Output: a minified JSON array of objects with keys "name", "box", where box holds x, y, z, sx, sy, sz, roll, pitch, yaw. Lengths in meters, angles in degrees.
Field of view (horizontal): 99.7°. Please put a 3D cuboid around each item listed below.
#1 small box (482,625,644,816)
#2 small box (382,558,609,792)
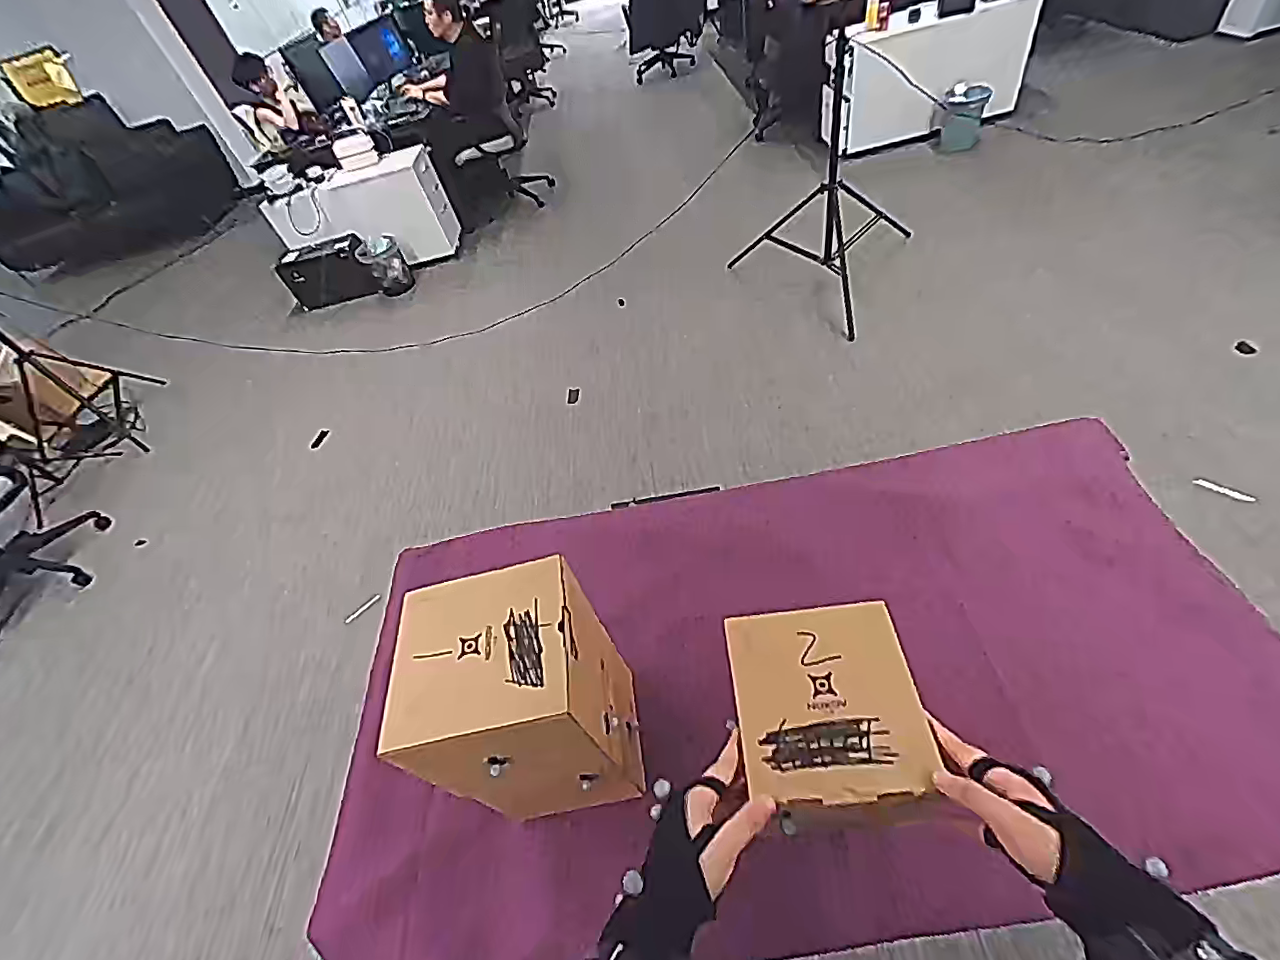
[{"name":"small box","box":[-0.104,0.315,0.700,0.179,0.176,0.168,-13,47,3]},{"name":"small box","box":[-0.135,0.211,0.576,0.179,0.176,0.168,-14,47,3]}]
